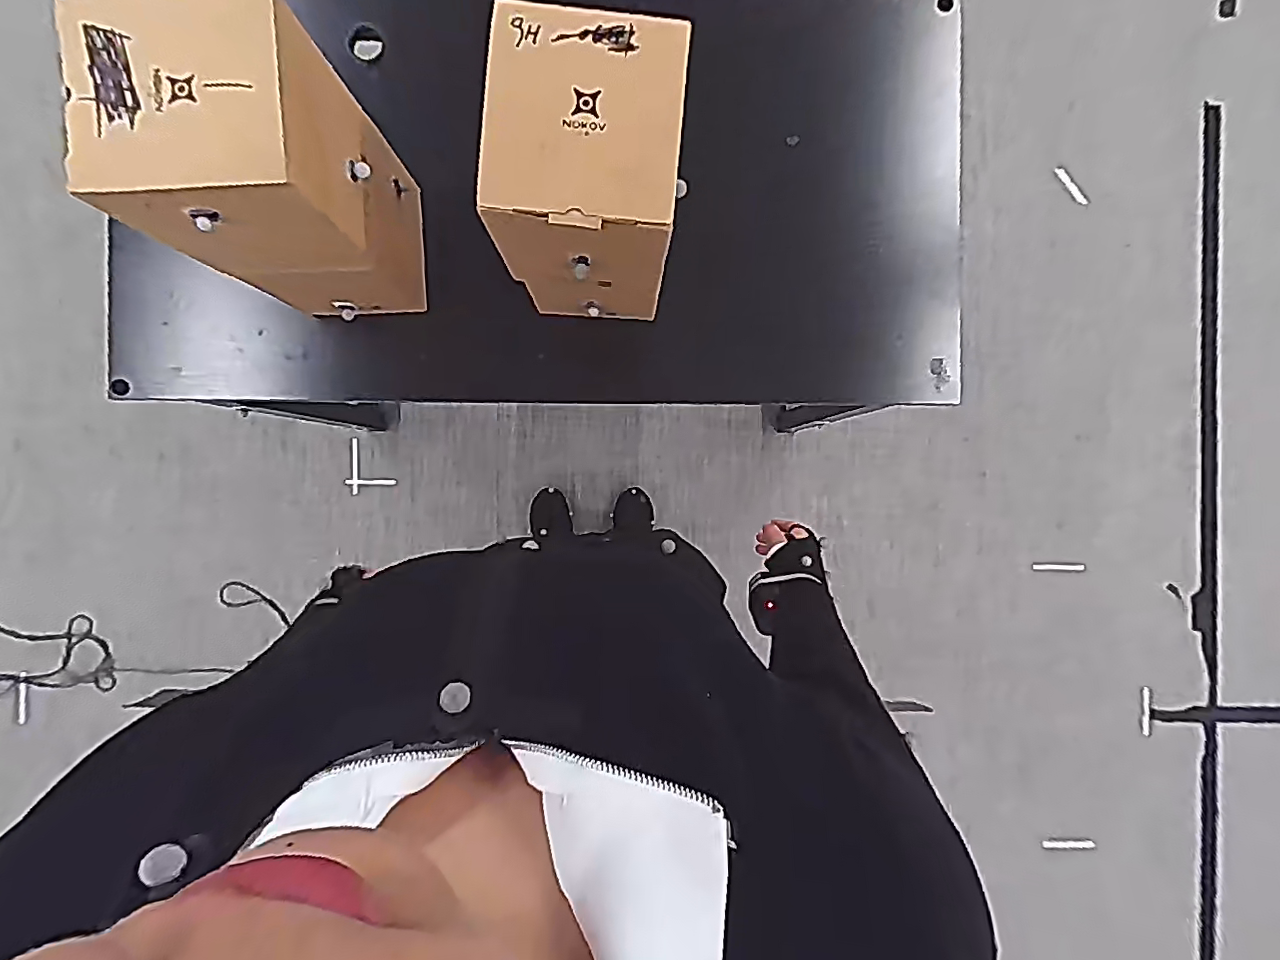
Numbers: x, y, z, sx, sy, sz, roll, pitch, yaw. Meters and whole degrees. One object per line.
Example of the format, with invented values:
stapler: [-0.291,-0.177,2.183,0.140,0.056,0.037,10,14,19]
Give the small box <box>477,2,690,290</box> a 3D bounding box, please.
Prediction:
small box: [-0.049,-0.301,0.529,0.168,0.176,0.179,5,91,-2]

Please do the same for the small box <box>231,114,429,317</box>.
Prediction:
small box: [-0.381,-0.320,0.682,0.168,0.176,0.179,-4,91,-1]

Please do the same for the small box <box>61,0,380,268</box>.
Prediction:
small box: [-0.377,-0.316,0.517,0.179,0.176,0.168,-4,90,-2]

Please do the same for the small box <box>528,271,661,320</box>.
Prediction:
small box: [-0.055,-0.321,0.693,0.168,0.176,0.179,3,90,-2]
